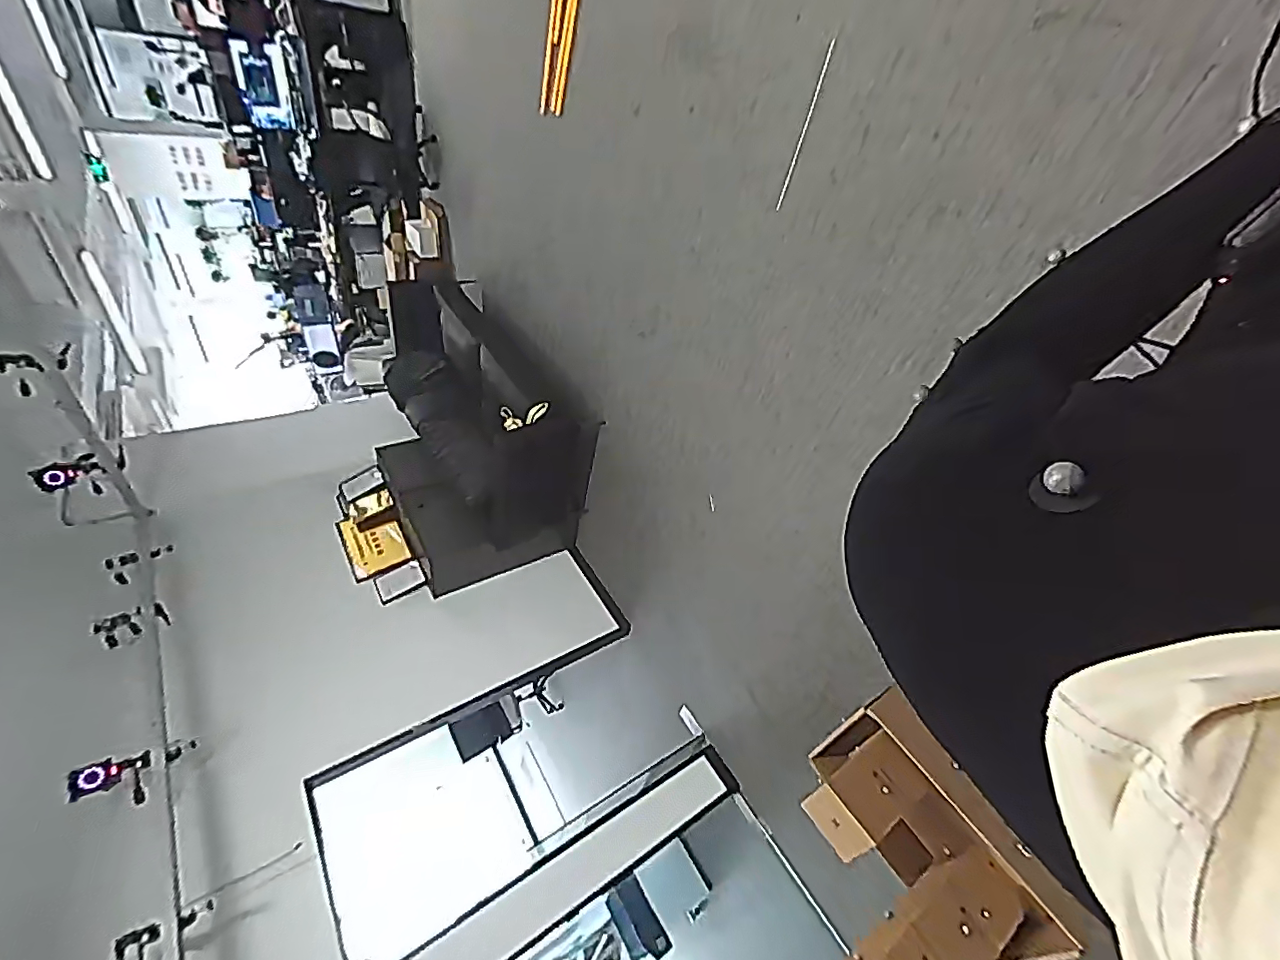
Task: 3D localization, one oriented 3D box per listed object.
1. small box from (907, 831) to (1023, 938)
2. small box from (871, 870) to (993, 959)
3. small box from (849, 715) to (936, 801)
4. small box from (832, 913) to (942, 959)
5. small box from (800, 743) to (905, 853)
[{"bbox_3d":[0.860,1.073,1.431,0.168,0.176,0.179,51,143,30],"label":"small box"},{"bbox_3d":[0.727,1.117,1.346,0.168,0.176,0.179,51,143,28],"label":"small box"},{"bbox_3d":[0.700,0.804,1.534,0.168,0.176,0.179,49,143,32],"label":"small box"},{"bbox_3d":[0.594,1.159,1.263,0.168,0.176,0.179,53,143,28],"label":"small box"},{"bbox_3d":[0.570,0.848,1.447,0.168,0.176,0.179,48,141,32],"label":"small box"}]
